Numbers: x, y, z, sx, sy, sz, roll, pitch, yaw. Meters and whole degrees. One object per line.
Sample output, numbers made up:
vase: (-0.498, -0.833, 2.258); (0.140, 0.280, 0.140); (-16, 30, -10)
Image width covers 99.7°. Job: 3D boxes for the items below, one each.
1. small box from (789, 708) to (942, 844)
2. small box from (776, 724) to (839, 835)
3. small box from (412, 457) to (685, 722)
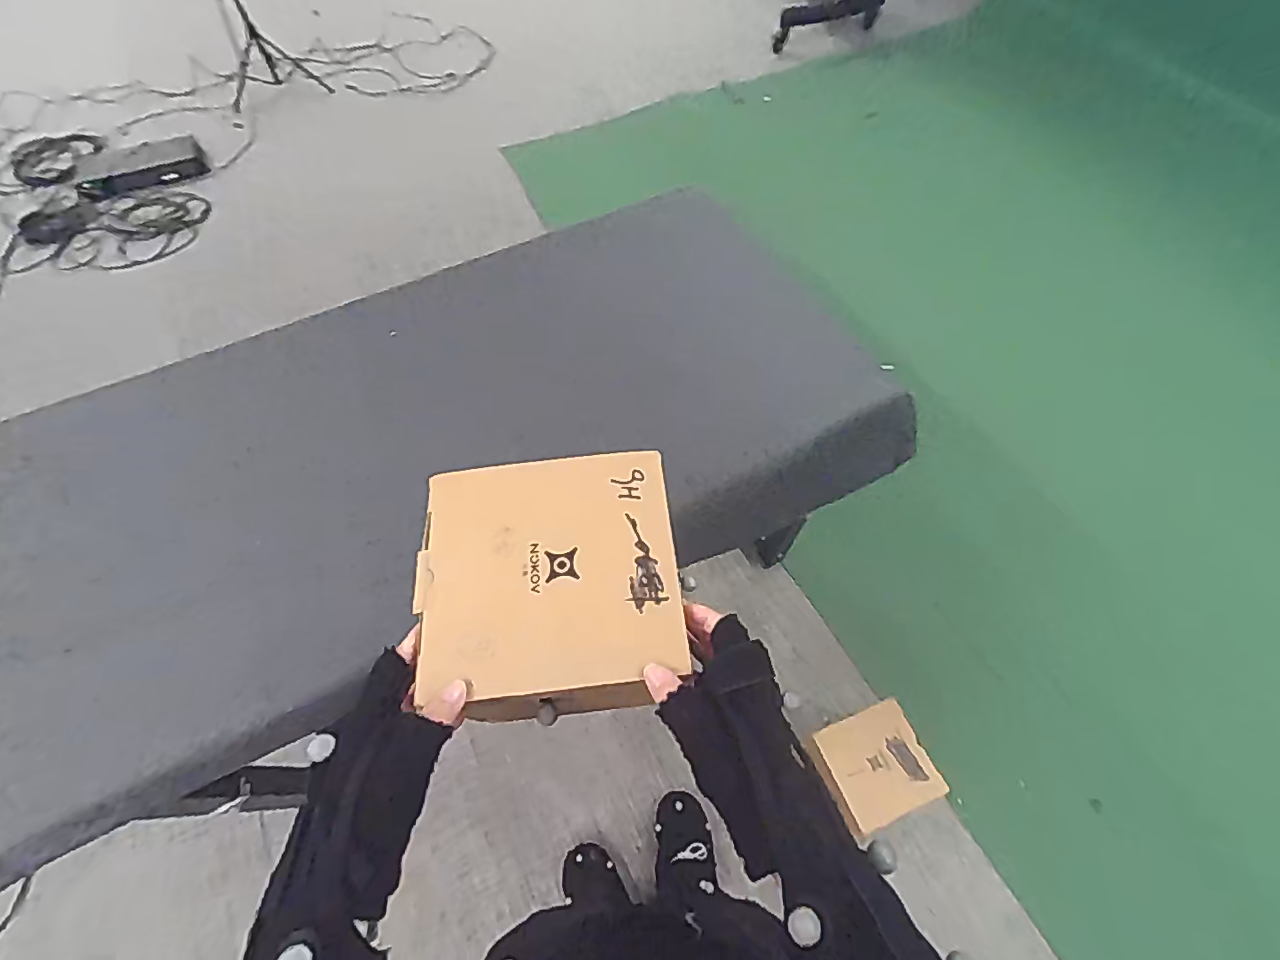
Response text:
small box: (0.405, 0.545, 1.005); (0.179, 0.176, 0.168); (-19, 61, -10)
small box: (0.415, 0.626, 1.149); (0.179, 0.176, 0.168); (-19, 61, -9)
small box: (-0.060, 0.099, 0.444); (0.179, 0.176, 0.168); (-5, 62, -1)
